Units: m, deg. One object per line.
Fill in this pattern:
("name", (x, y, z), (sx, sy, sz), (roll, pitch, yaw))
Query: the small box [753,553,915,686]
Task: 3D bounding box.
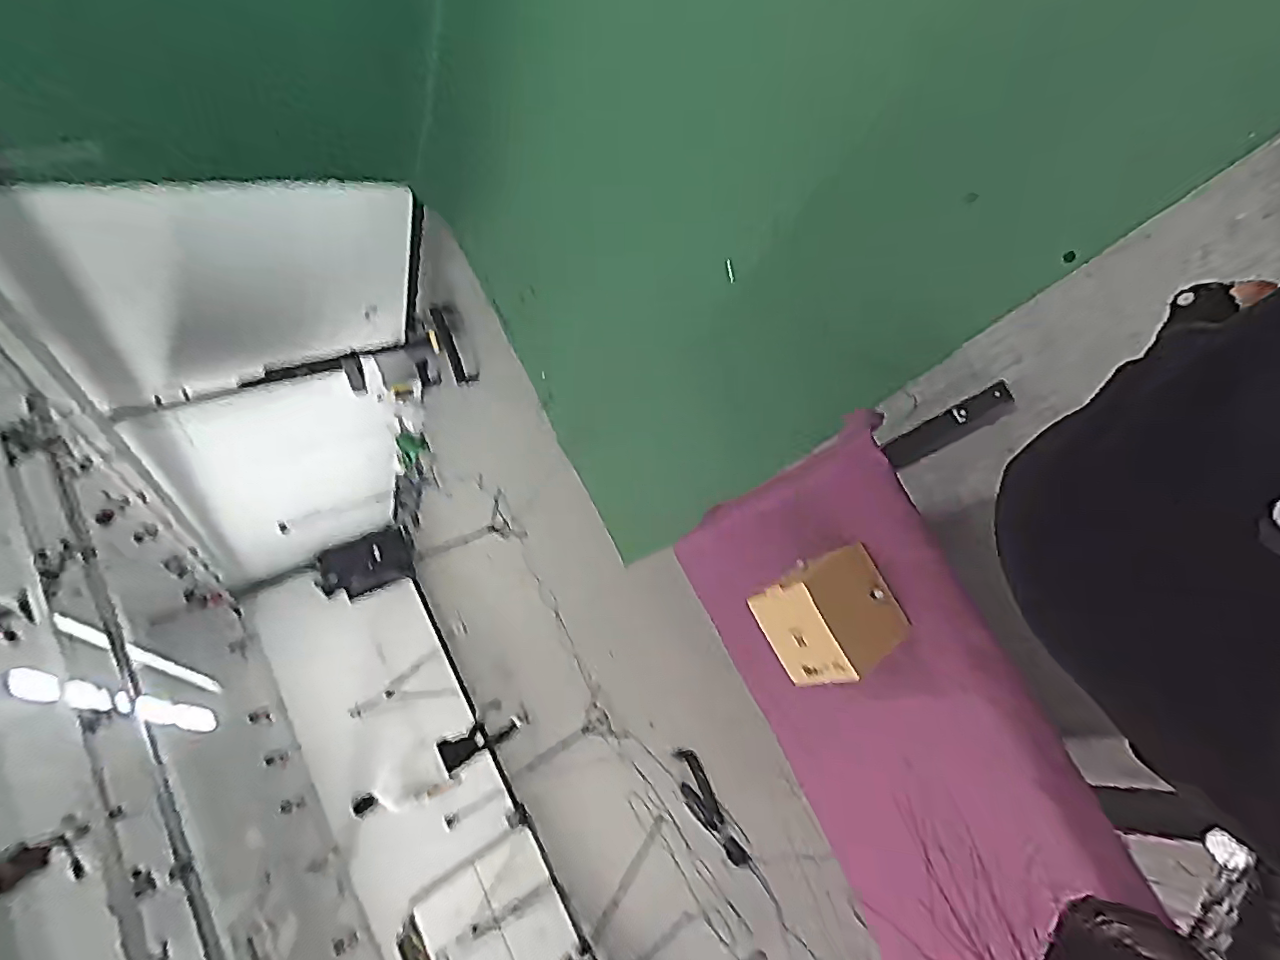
("small box", (0.345, 0.245, 0.970), (0.179, 0.176, 0.168), (62, 149, 10))
